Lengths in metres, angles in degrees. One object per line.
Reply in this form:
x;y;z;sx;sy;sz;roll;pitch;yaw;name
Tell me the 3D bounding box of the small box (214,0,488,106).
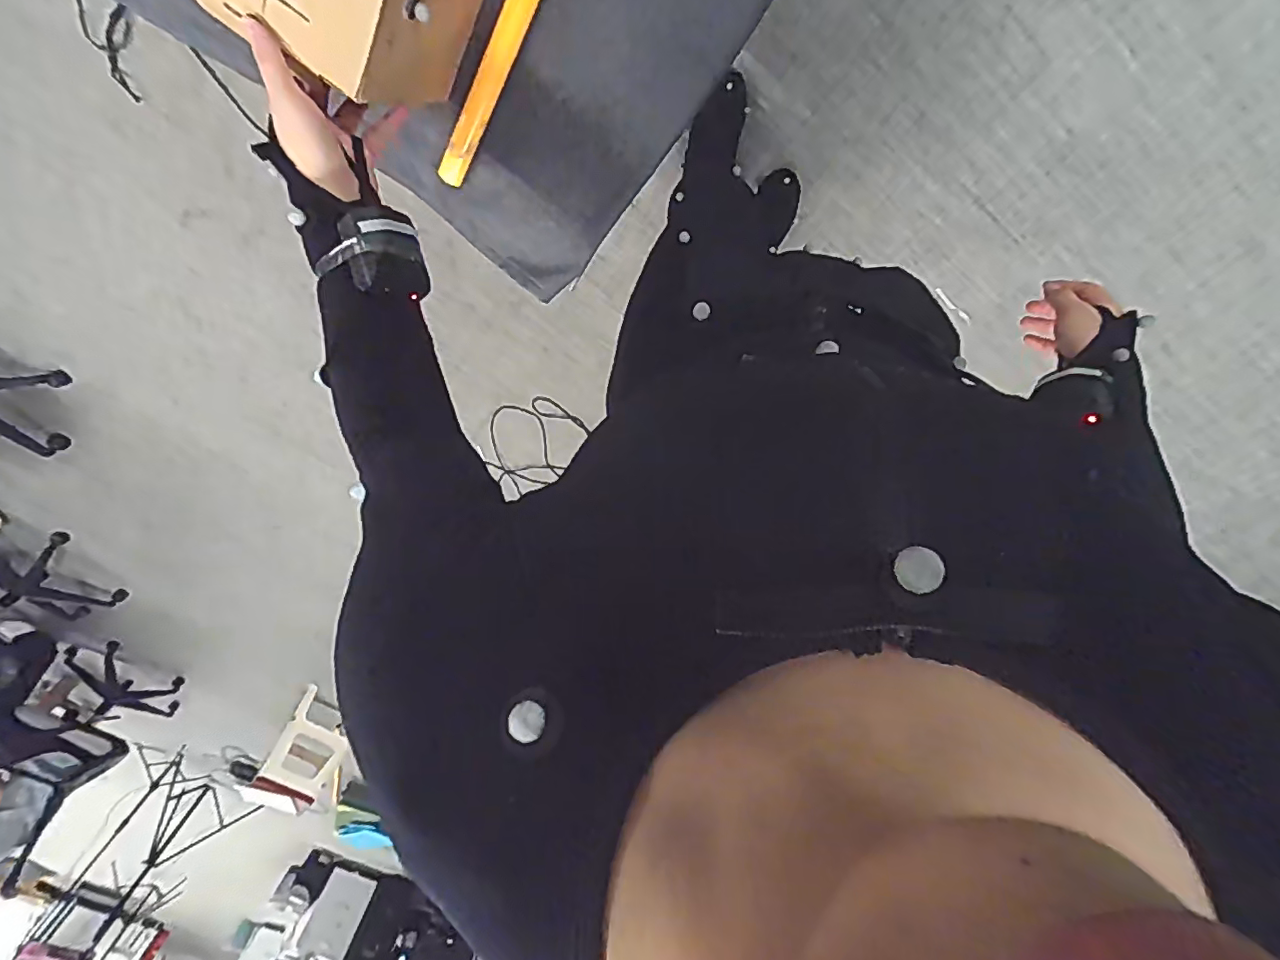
-0.223;-0.434;0.424;0.168;0.176;0.179;32;123;-14;small box
